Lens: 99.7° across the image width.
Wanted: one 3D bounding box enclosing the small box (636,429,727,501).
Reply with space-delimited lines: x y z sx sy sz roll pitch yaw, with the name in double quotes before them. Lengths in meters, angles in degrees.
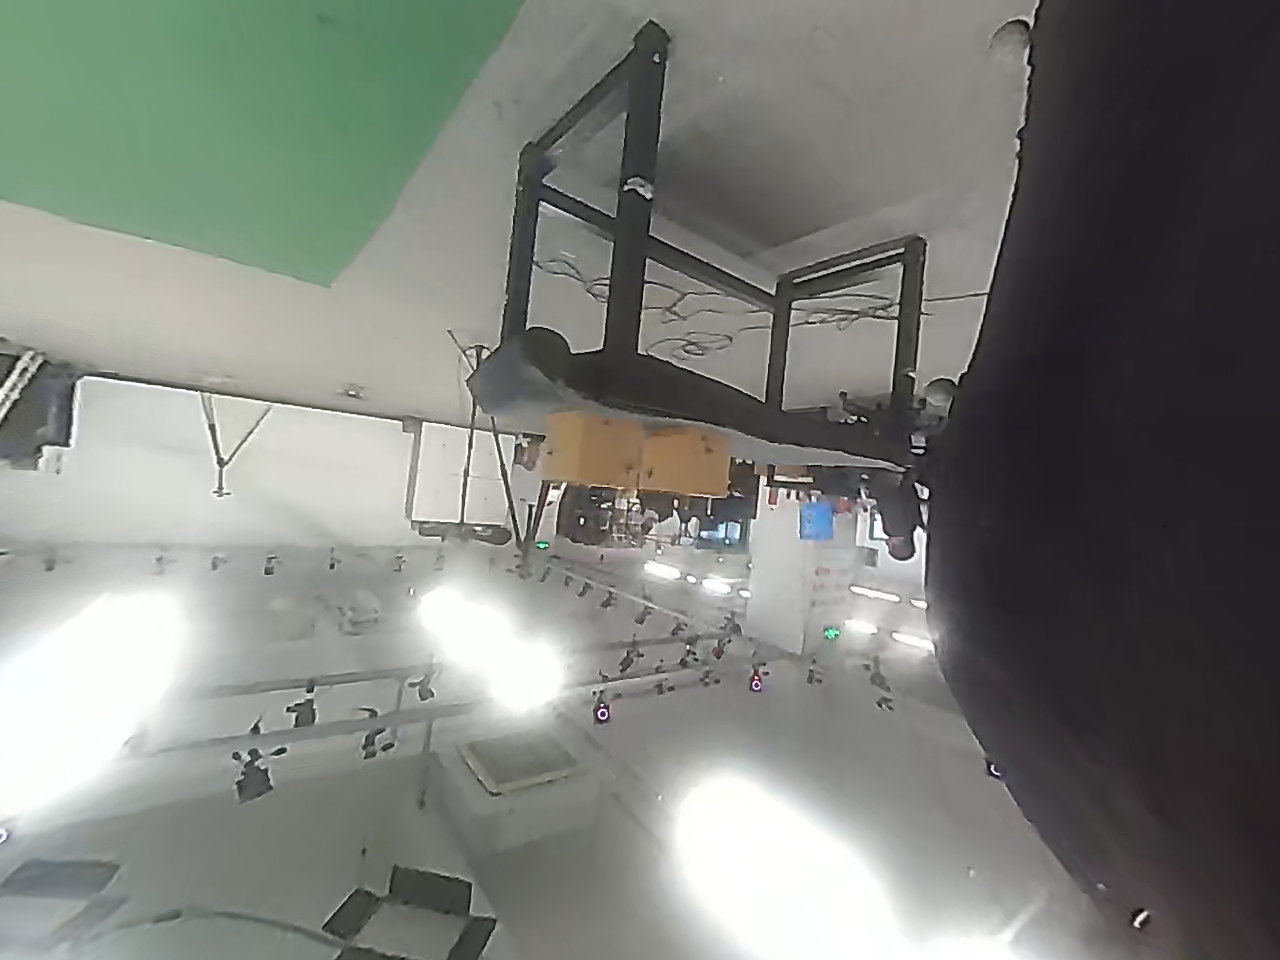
"small box" 0.113 -0.040 1.432 0.168 0.176 0.179 6 179 -37
